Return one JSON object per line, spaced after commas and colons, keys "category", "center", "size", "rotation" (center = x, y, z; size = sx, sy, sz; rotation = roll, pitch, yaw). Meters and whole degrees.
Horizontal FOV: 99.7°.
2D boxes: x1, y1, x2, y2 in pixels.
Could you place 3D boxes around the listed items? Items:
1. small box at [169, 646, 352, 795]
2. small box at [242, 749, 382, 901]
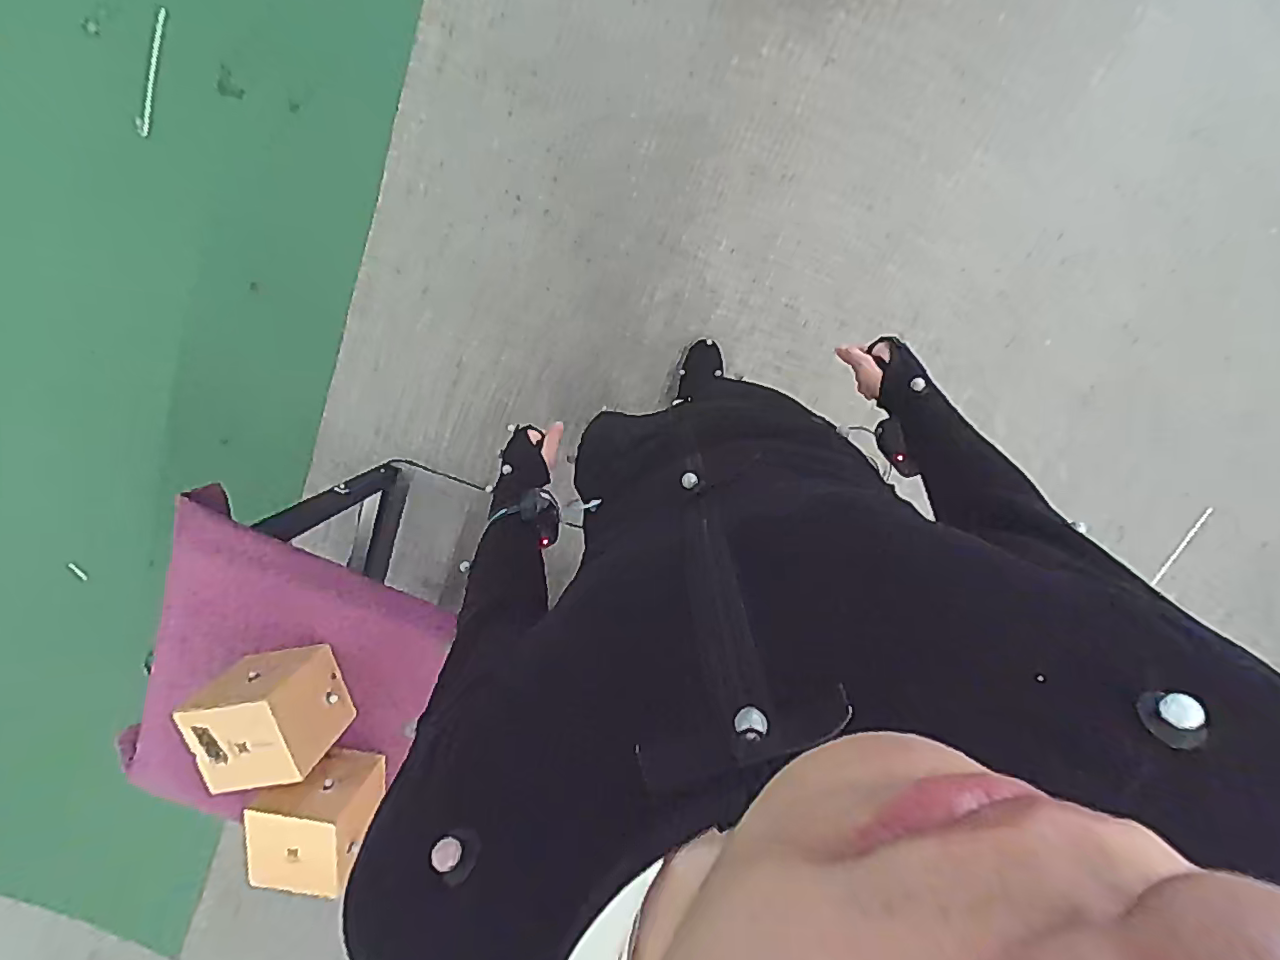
{"category": "small box", "center": [-0.660, 0.420, 0.962], "size": [0.179, 0.176, 0.168], "rotation": [-11, 105, 5]}
{"category": "small box", "center": [-0.608, 0.640, 1.022], "size": [0.168, 0.176, 0.179], "rotation": [8, 106, 1]}
